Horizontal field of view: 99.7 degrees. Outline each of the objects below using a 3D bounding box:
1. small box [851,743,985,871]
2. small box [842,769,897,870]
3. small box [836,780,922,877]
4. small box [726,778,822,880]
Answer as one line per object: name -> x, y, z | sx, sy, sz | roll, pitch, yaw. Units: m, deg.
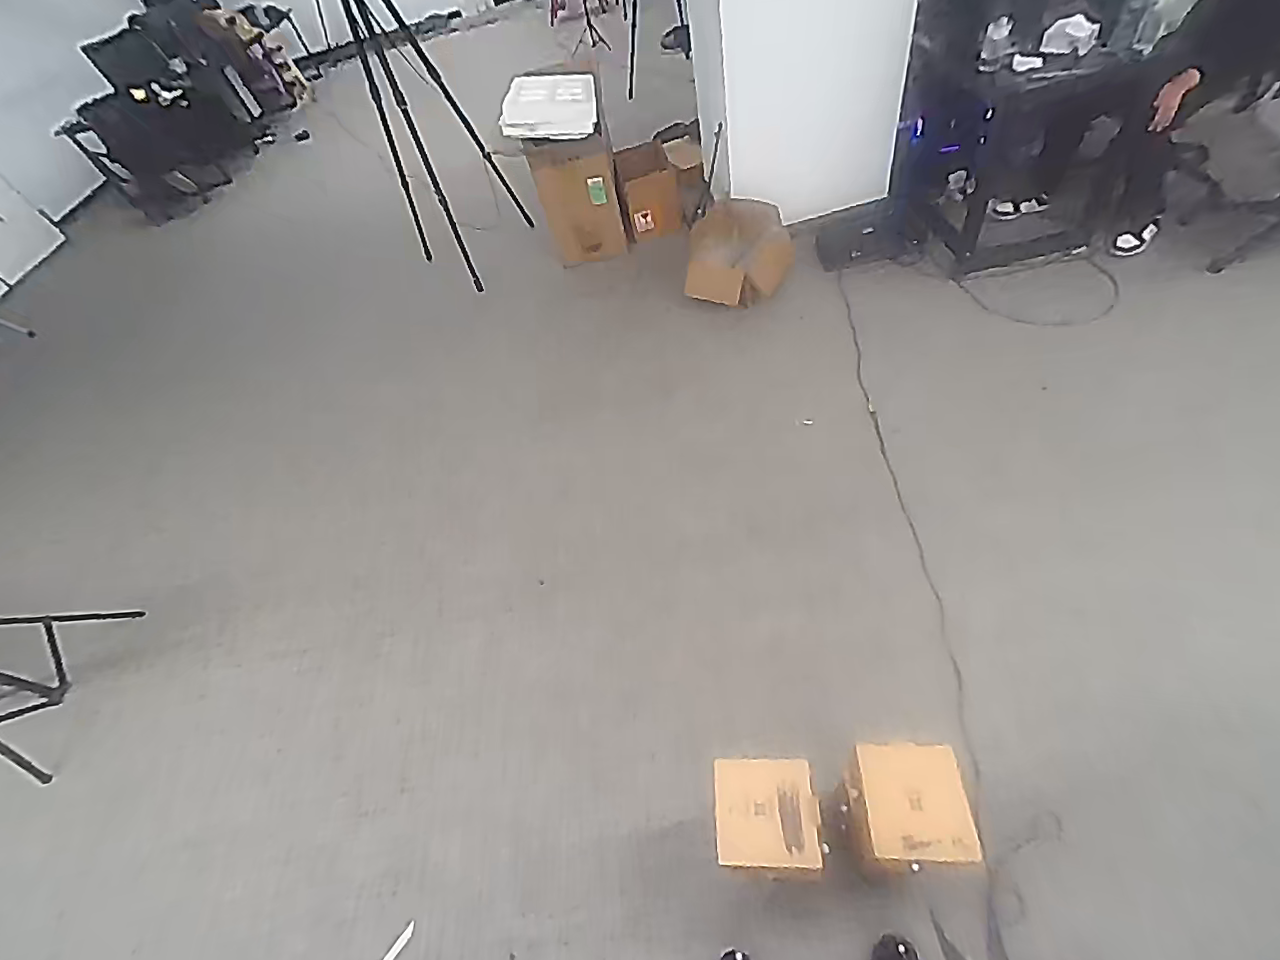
small box -> 0.489, 0.595, 0.984 | 0.168, 0.176, 0.179 | -5, 51, 11
small box -> 0.526, 0.693, 1.112 | 0.179, 0.176, 0.168 | -11, 51, 7
small box -> 0.558, 0.790, 1.237 | 0.168, 0.176, 0.179 | -12, 51, 6
small box -> 0.278, 0.736, 1.138 | 0.179, 0.176, 0.168 | -6, 52, 11
